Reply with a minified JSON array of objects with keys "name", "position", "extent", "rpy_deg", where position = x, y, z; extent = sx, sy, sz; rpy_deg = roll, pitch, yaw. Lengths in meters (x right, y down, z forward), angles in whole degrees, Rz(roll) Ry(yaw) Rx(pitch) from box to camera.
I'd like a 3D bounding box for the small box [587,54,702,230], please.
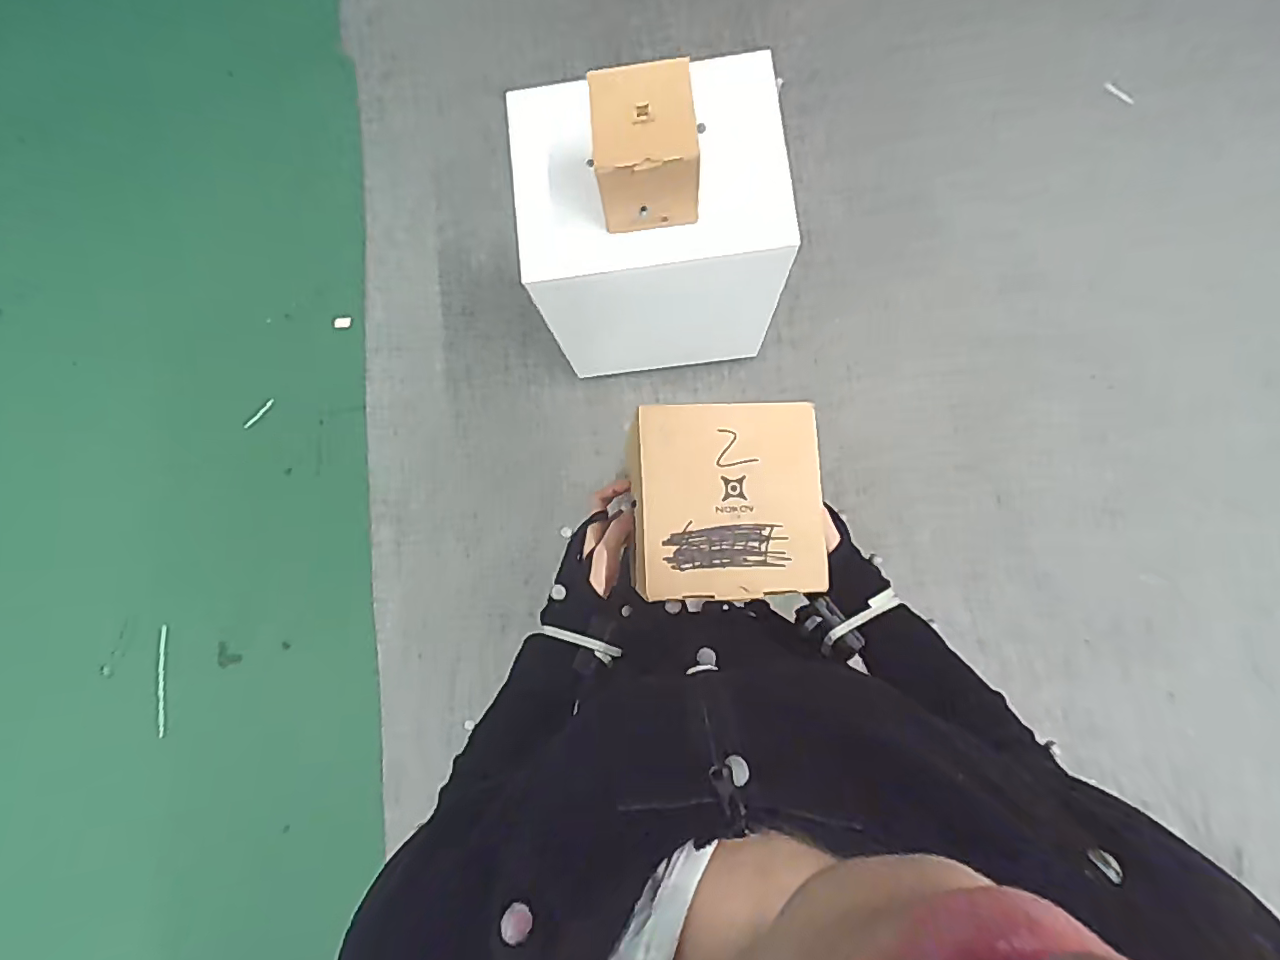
[{"name":"small box","position":[0.009,-0.552,0.901],"extent":[0.168,0.176,0.179],"rpy_deg":[-6,81,4]}]
